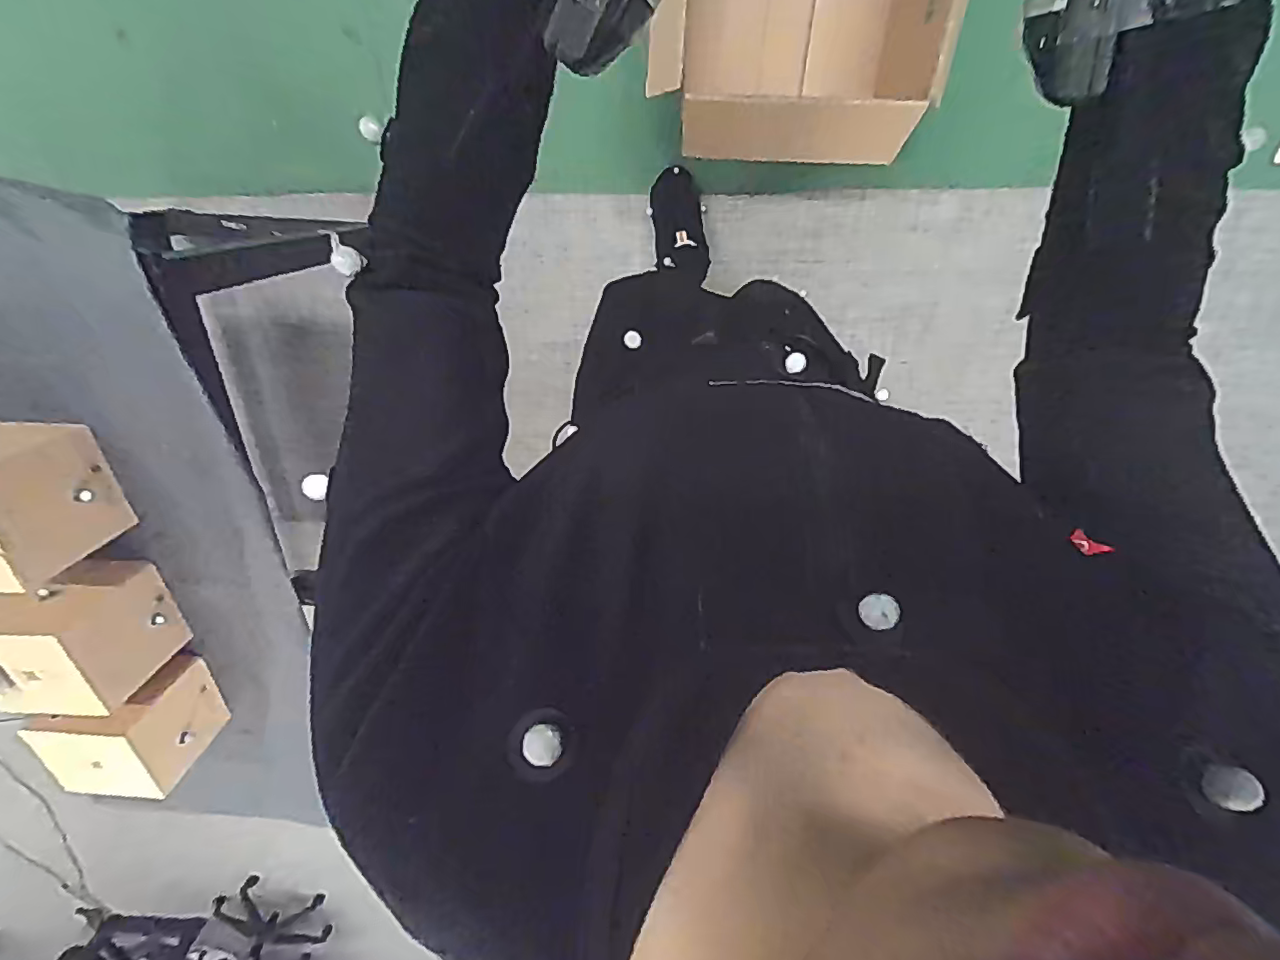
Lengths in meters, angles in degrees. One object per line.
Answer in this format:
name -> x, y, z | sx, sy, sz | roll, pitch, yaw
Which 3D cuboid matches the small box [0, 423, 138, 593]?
small box -> -0.854, 0.030, 0.727 | 0.179, 0.176, 0.168 | 2, 119, 3
